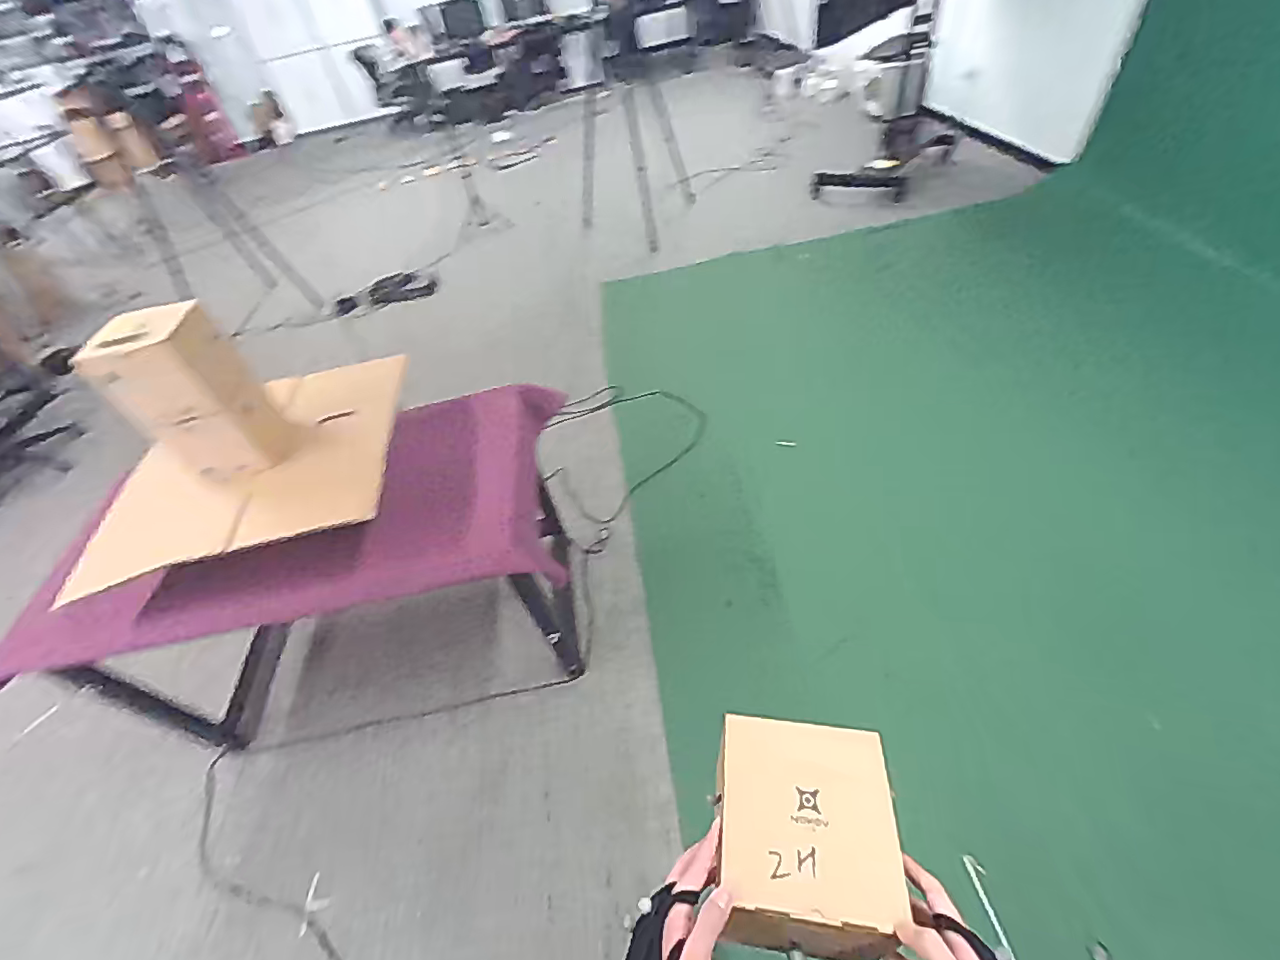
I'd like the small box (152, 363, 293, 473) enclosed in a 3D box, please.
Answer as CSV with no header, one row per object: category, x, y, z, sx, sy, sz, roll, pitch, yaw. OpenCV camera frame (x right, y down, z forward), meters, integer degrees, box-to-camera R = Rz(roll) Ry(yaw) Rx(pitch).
small box,-0.925,-0.134,1.221,0.168,0.176,0.179,-12,46,-2
